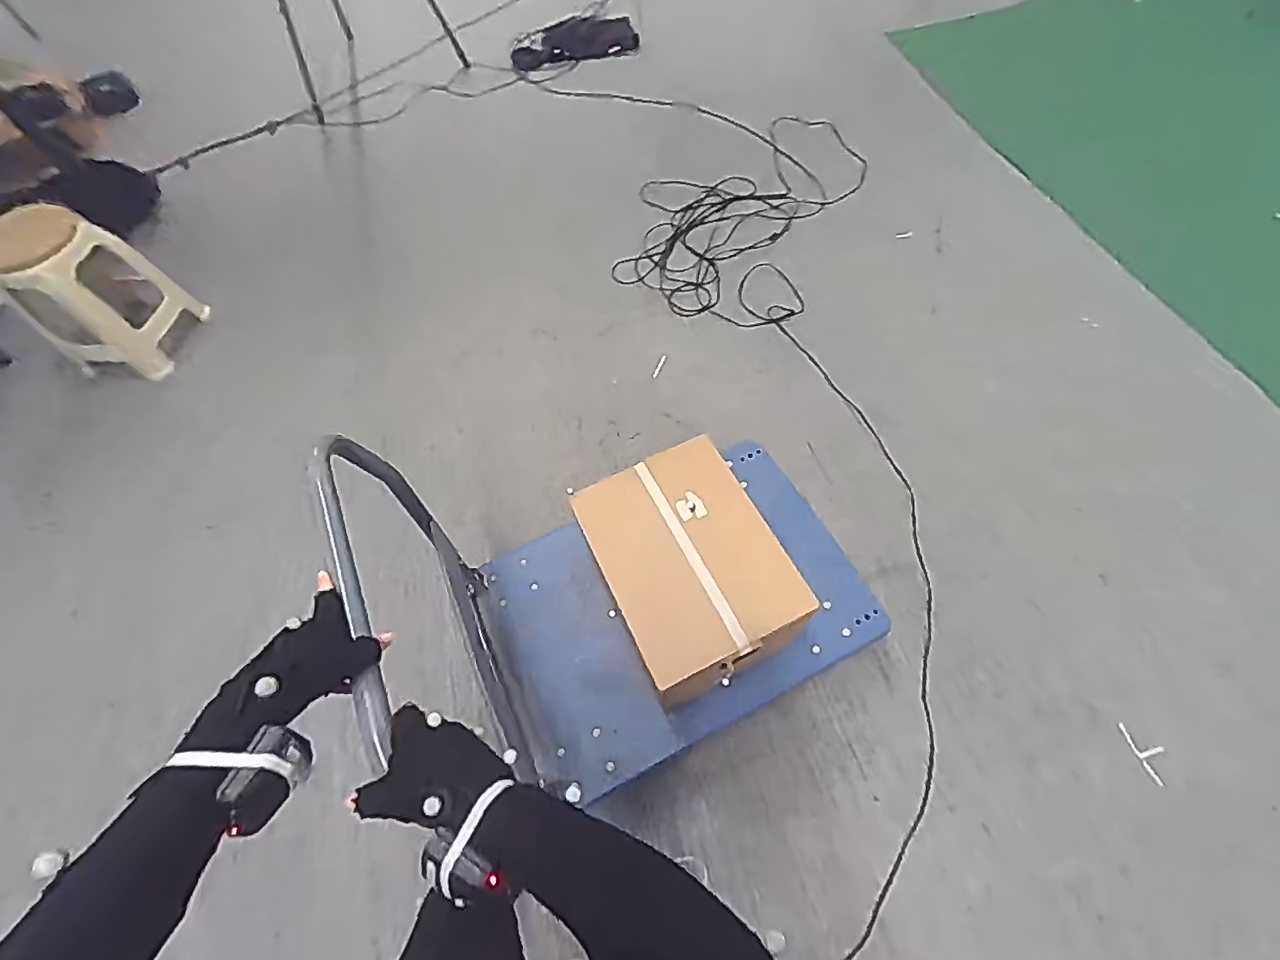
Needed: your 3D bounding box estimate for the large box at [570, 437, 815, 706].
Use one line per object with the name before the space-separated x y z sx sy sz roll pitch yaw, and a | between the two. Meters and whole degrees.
large box | 0.096 0.196 1.130 0.320 0.320 0.408 -24 61 -10
